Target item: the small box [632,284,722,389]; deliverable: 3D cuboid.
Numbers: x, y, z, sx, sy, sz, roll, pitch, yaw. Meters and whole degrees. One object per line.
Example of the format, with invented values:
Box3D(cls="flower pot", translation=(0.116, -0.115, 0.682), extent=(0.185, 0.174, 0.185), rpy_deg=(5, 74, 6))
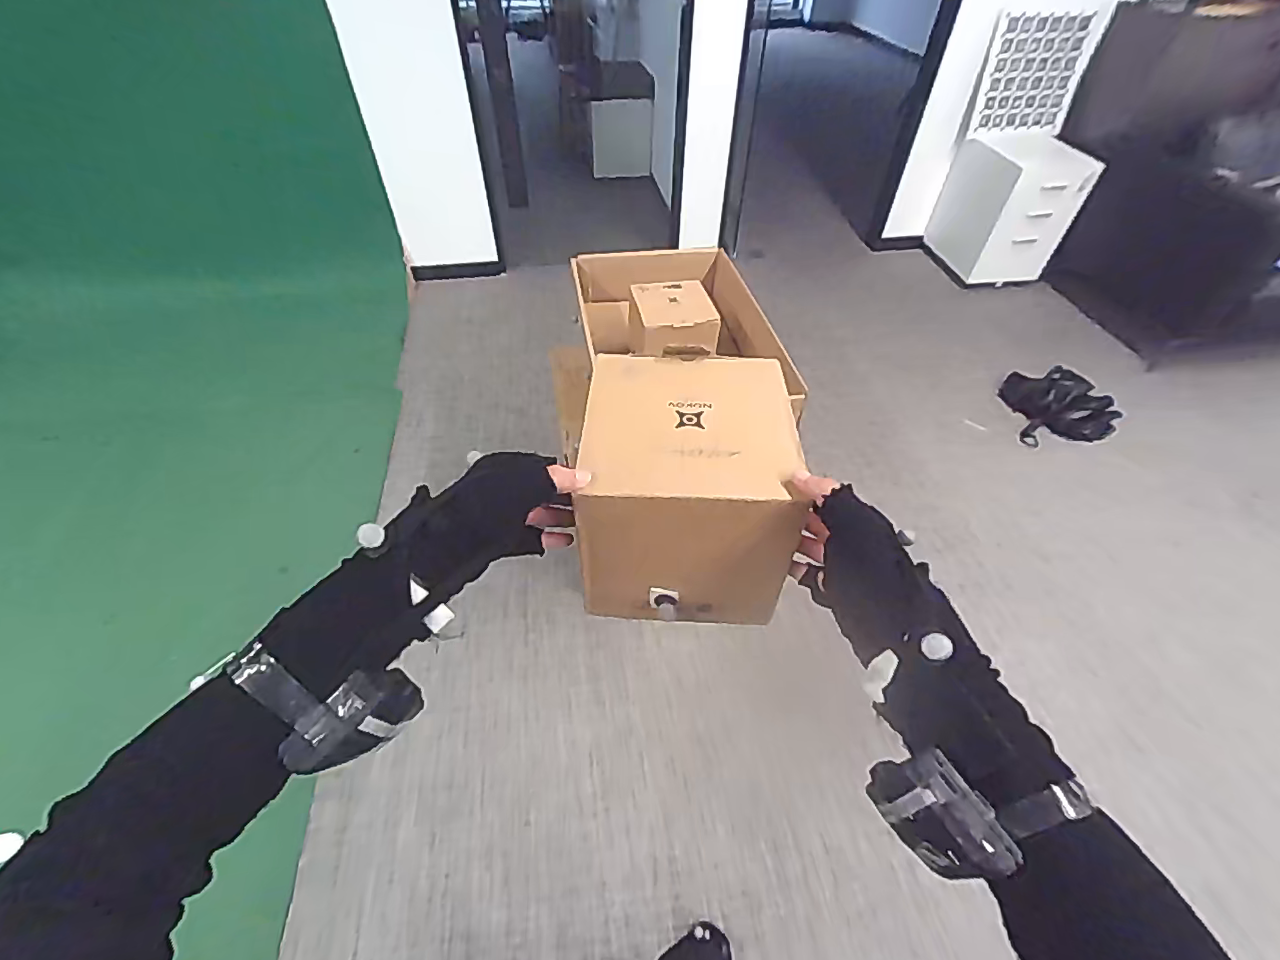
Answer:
Box3D(cls="small box", translation=(0.077, -0.321, 1.230), extent=(0.168, 0.176, 0.179), rpy_deg=(-7, 49, -8))
